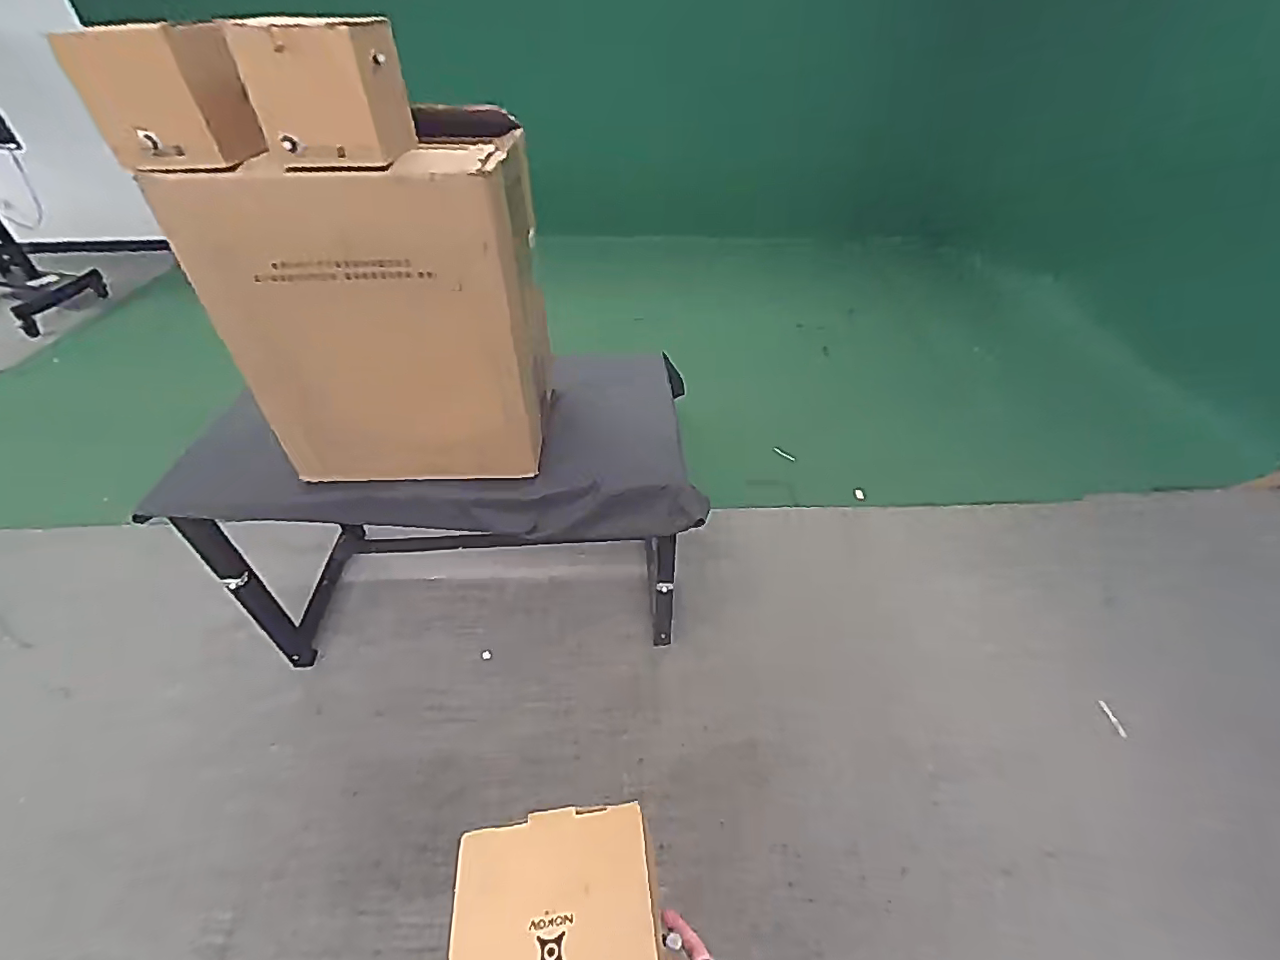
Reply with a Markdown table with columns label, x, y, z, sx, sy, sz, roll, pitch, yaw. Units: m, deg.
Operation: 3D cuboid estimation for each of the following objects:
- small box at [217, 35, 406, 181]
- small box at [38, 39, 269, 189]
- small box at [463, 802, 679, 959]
| label | x | y | z | sx | sy | sz | roll | pitch | yaw |
| --- | --- | --- | --- | --- | --- | --- | --- | --- | --- |
| small box | -0.481 | -0.568 | 0.828 | 0.168 | 0.176 | 0.179 | -2 | 41 | -2 |
| small box | -0.712 | -0.558 | 0.826 | 0.168 | 0.176 | 0.179 | -3 | 42 | 1 |
| small box | -0.052 | 0.424 | 0.480 | 0.168 | 0.176 | 0.179 | -10 | 41 | -3 |
